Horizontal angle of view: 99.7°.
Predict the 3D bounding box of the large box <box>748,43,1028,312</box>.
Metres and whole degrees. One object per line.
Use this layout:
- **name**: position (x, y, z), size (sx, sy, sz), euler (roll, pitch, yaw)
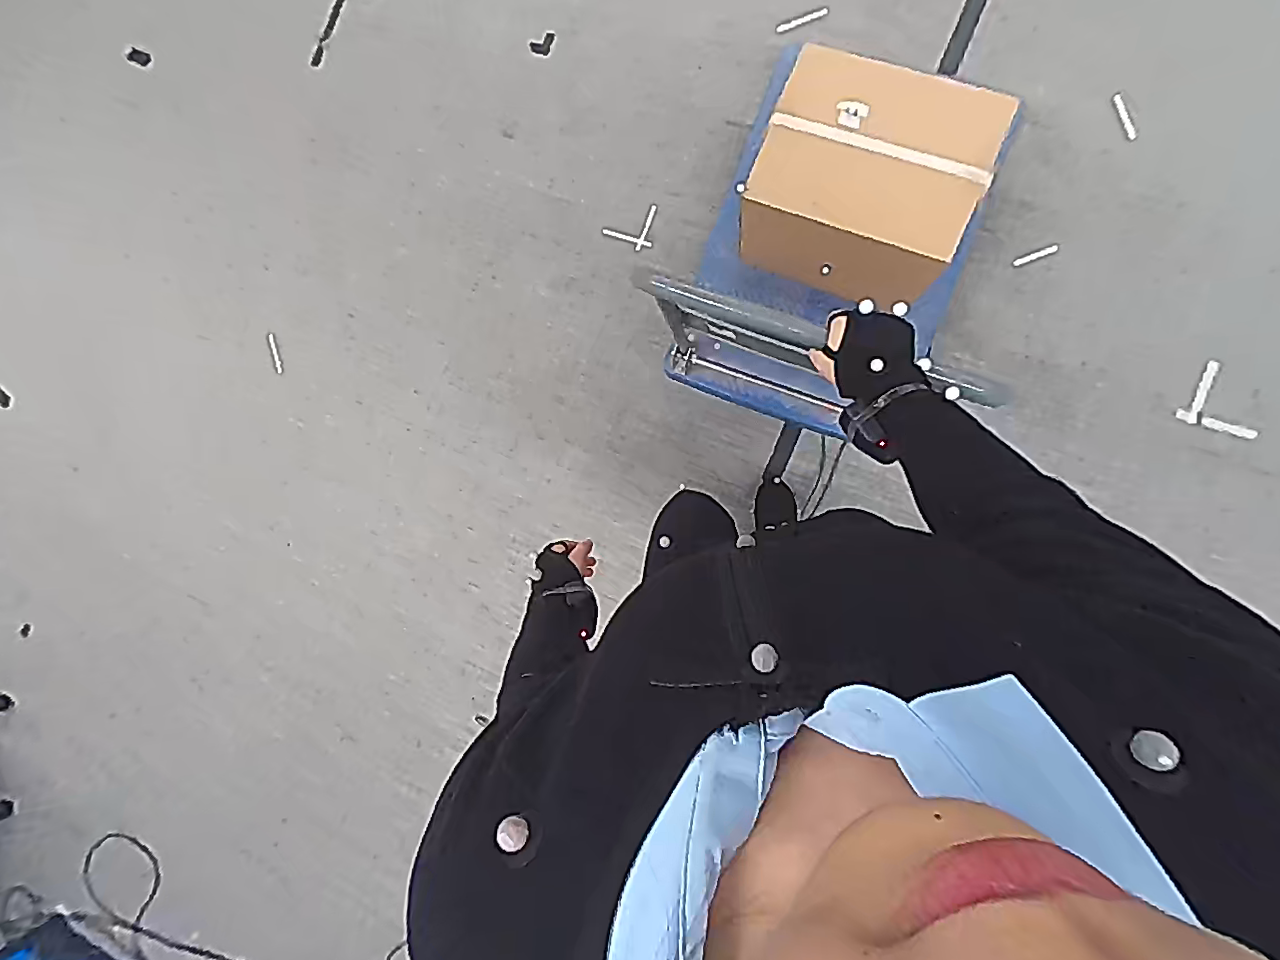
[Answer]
- **large box**: position (0.472, -0.601, 1.131), size (0.408, 0.320, 0.320), euler (24, 92, 10)
